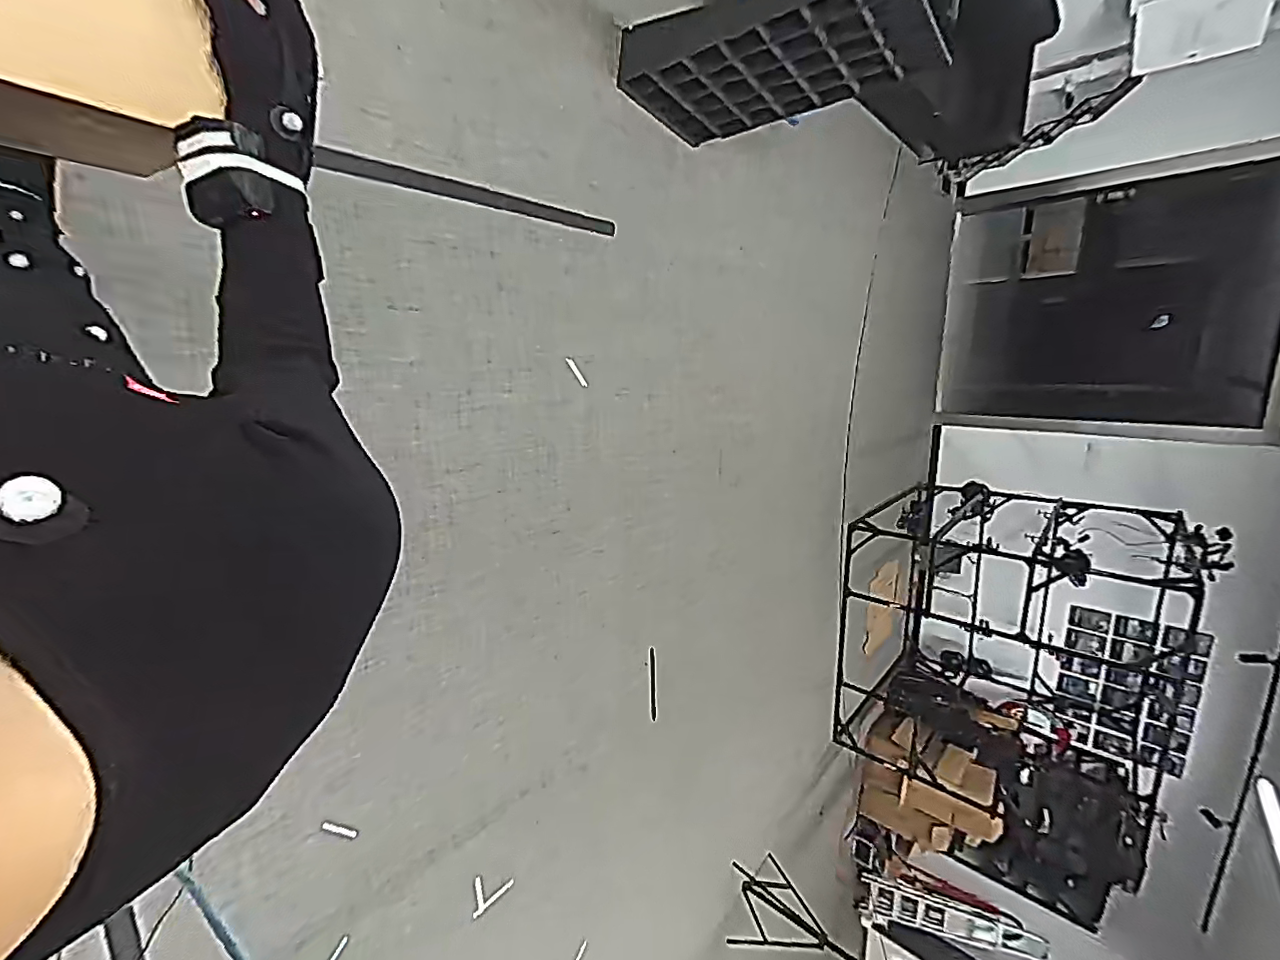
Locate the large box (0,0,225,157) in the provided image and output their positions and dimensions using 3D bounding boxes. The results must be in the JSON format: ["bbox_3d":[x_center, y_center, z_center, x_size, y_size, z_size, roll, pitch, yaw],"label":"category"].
[{"bbox_3d":[-0.557,-0.440,0.330,0.408,0.320,0.320,-12,115,-50],"label":"large box"}]
